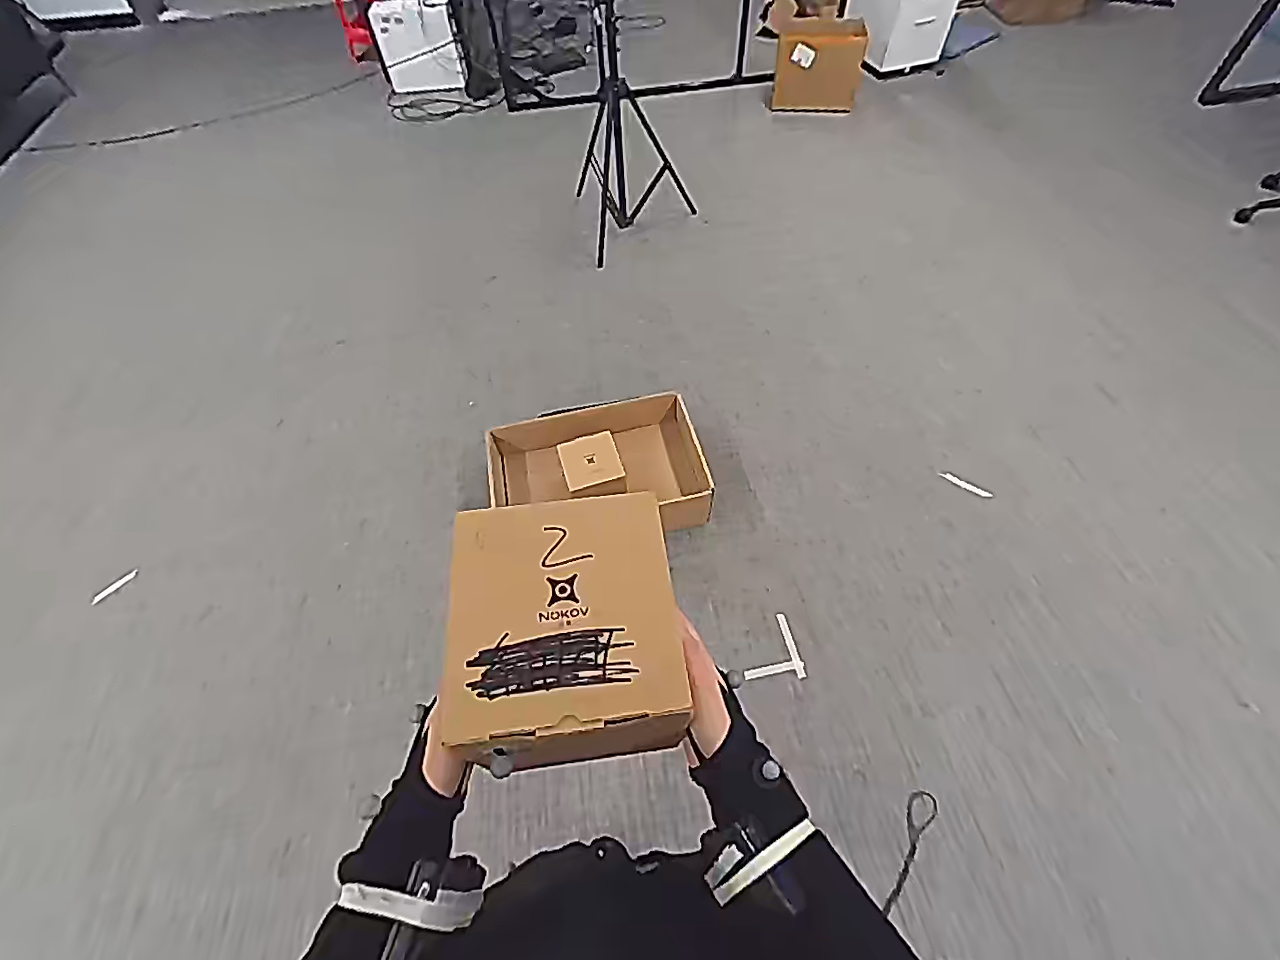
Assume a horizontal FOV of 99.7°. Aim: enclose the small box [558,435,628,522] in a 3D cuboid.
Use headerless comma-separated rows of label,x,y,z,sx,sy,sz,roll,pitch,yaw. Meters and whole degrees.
small box,-0.139,-0.002,1.619,0.168,0.176,0.179,-17,58,-8
